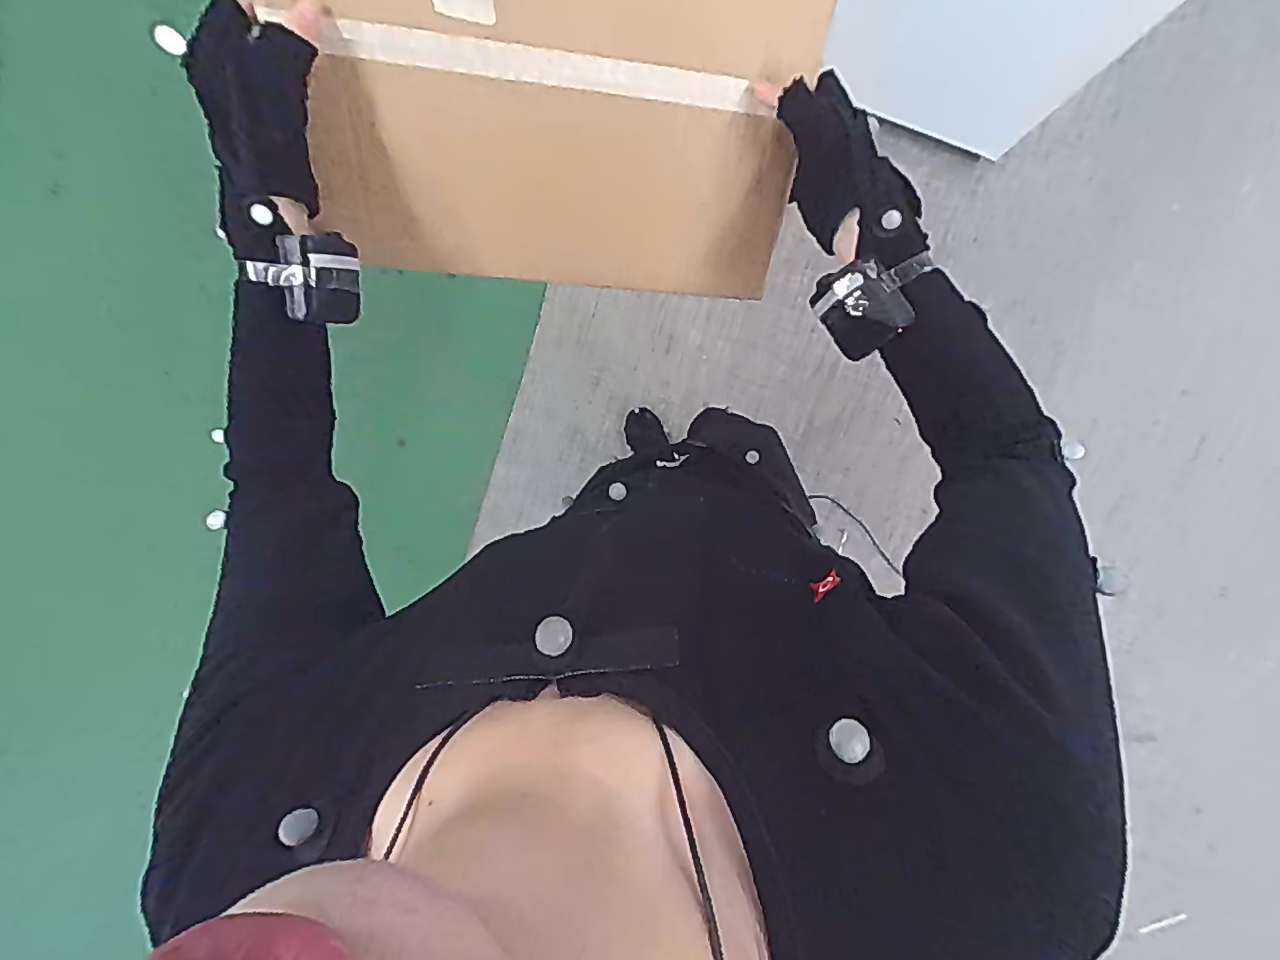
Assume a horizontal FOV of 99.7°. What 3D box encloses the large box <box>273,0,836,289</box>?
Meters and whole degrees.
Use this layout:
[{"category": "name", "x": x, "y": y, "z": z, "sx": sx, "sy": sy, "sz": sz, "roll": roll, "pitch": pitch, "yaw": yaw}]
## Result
[{"category": "large box", "x": -0.071, "y": -0.403, "z": 0.523, "sx": 0.408, "sy": 0.320, "sz": 0.320, "roll": 3, "pitch": 125, "yaw": -9}]
